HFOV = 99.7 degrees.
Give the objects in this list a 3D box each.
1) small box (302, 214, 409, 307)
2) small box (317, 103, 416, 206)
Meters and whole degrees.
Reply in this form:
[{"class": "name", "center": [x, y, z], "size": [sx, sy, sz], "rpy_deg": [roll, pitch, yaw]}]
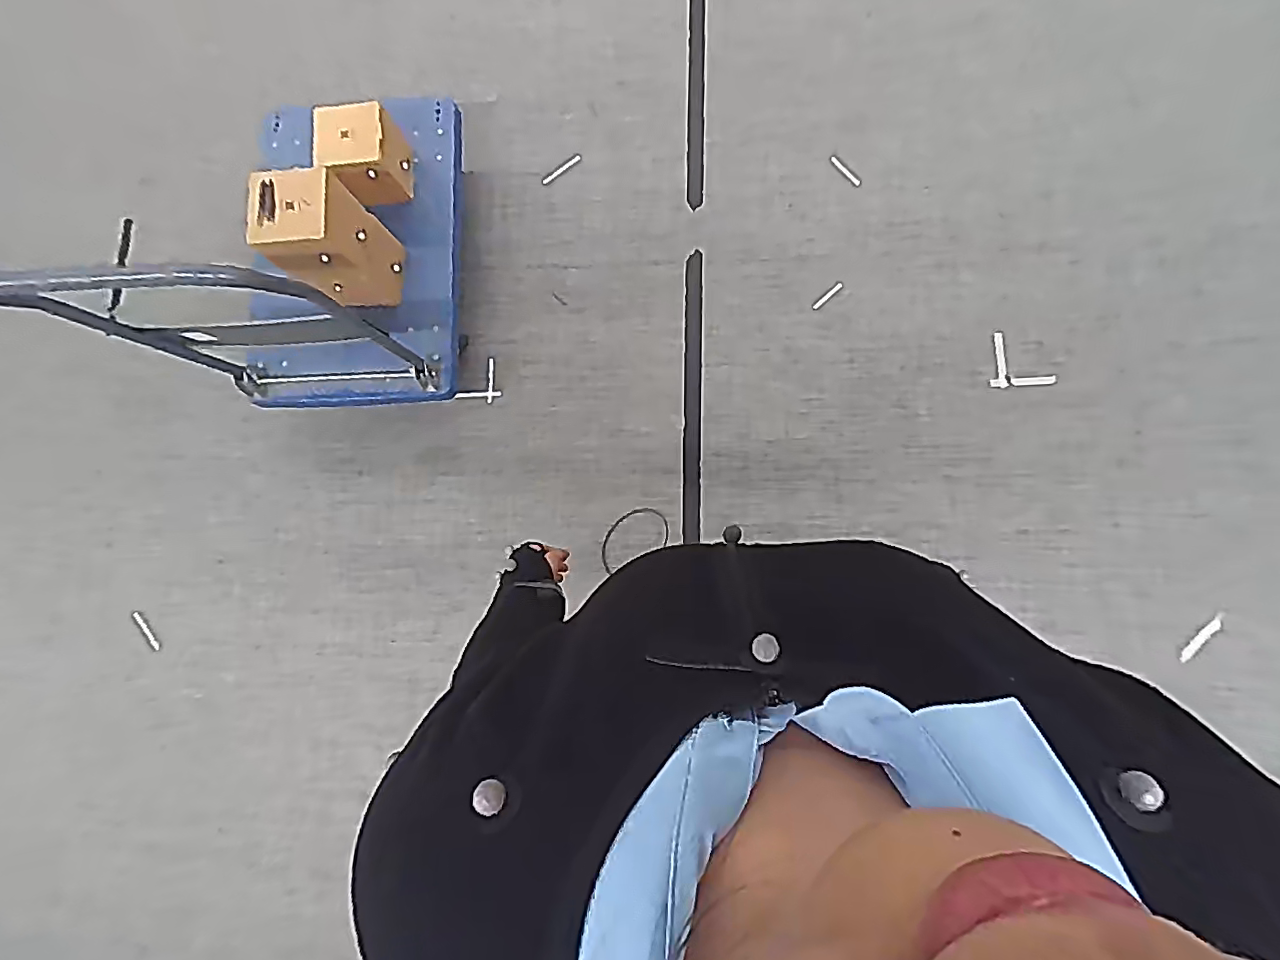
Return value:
[{"class": "small box", "center": [-0.727, -0.560, 1.395], "size": [0.179, 0.176, 0.168], "rpy_deg": [2, 84, 4]}, {"class": "small box", "center": [-0.719, -0.852, 1.432], "size": [0.179, 0.176, 0.168], "rpy_deg": [-4, 83, 3]}]
